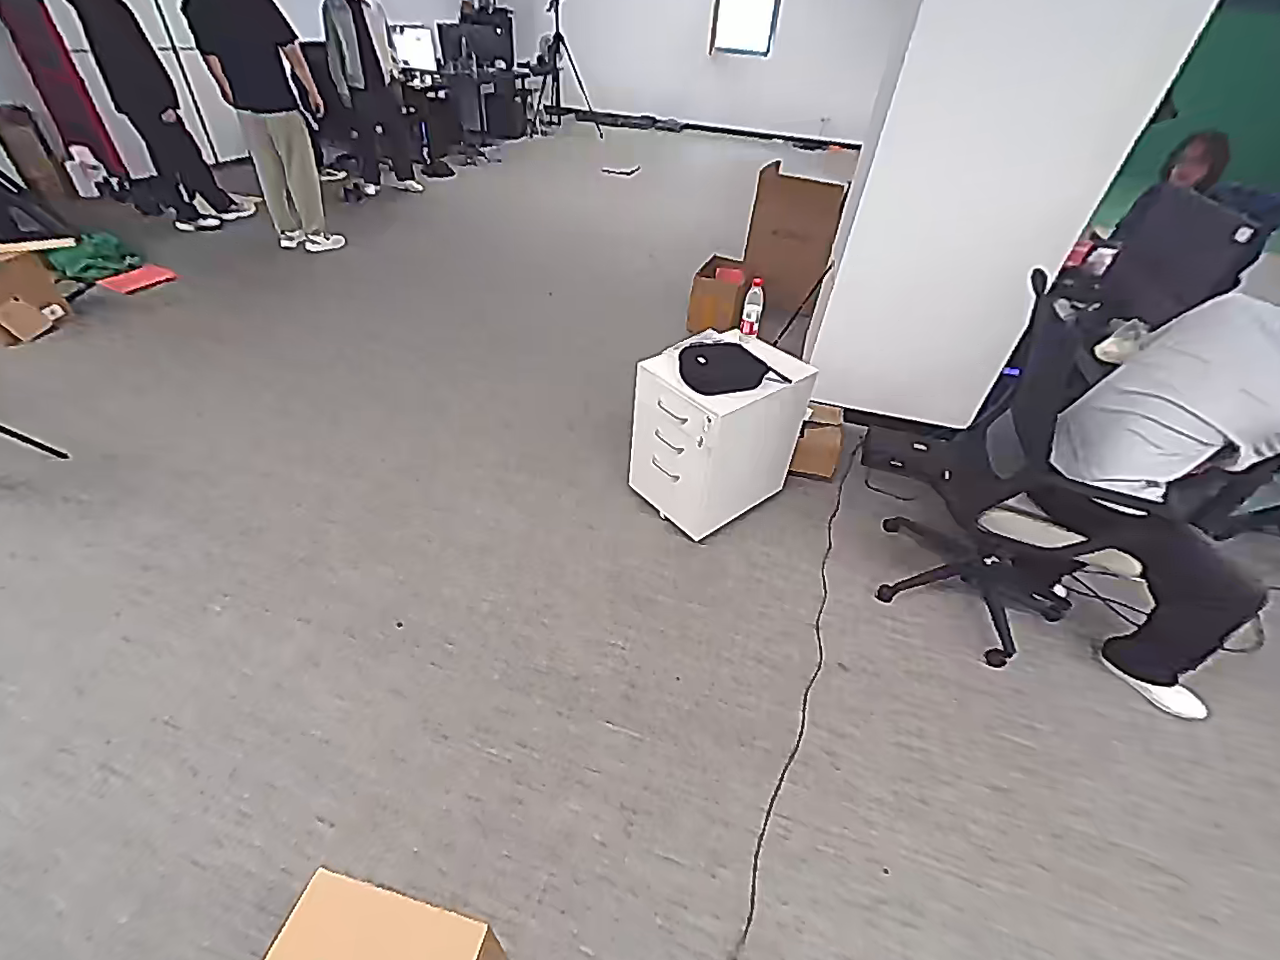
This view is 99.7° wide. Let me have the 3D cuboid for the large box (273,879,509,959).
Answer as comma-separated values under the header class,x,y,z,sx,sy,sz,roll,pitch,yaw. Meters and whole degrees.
class,x,y,z,sx,sy,sz,roll,pitch,yaw
large box,-0.439,0.930,0.906,0.320,0.408,0.320,13,43,8
